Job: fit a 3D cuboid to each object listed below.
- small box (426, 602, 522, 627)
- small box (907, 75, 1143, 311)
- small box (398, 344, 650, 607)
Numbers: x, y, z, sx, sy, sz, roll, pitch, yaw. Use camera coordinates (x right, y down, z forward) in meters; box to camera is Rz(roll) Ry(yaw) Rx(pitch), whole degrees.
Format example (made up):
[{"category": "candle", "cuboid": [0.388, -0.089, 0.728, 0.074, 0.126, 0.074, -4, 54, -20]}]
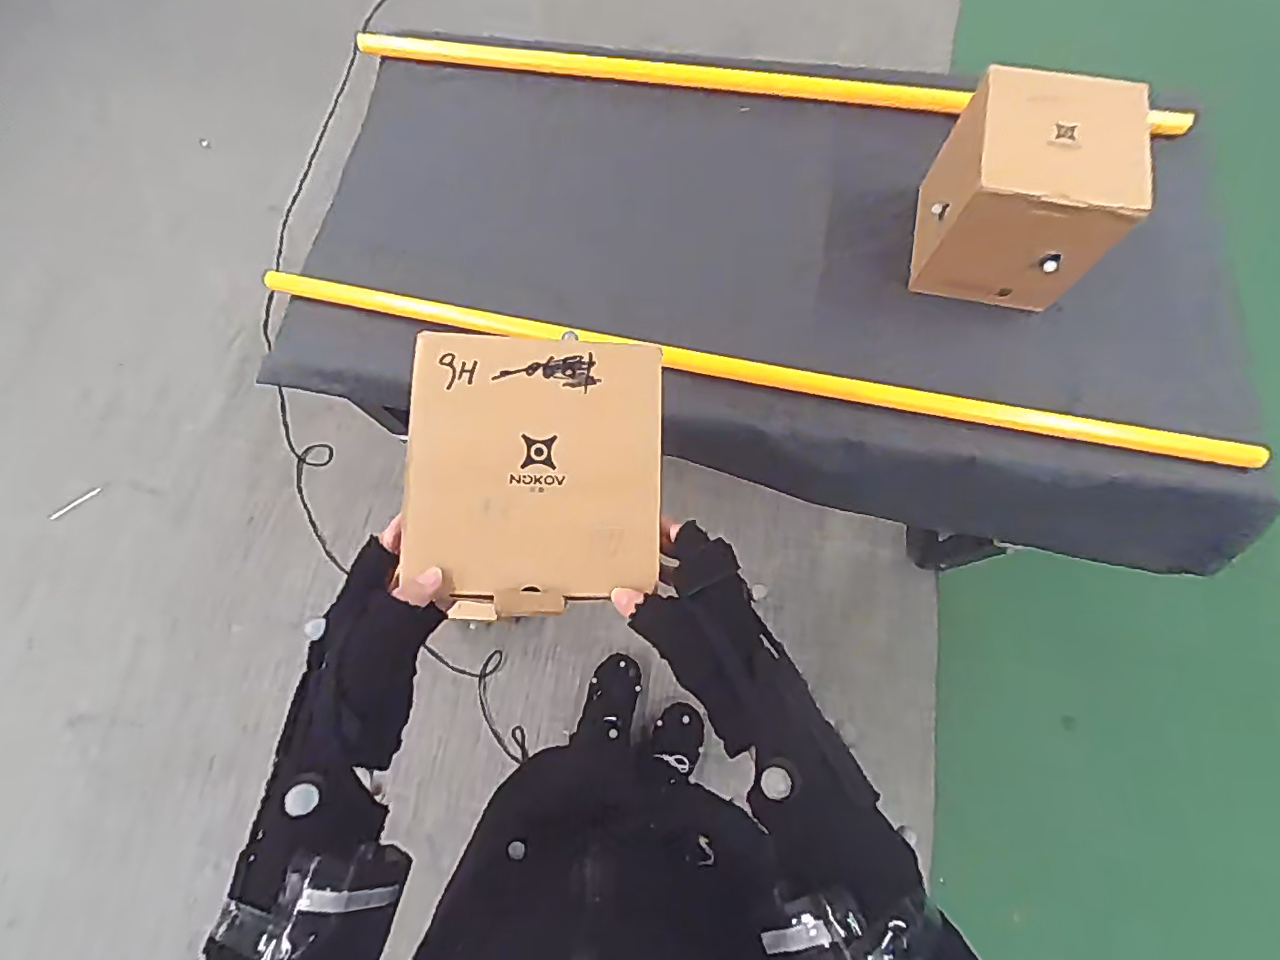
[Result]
[{"category": "small box", "cuboid": [-0.372, 0.245, 1.259, 0.168, 0.176, 0.179, 2, 73, 3]}, {"category": "small box", "cuboid": [0.438, -0.328, 0.642, 0.168, 0.176, 0.179, 12, 72, 5]}, {"category": "small box", "cuboid": [-0.080, 0.003, 0.438, 0.168, 0.176, 0.179, -2, 82, -5]}]
